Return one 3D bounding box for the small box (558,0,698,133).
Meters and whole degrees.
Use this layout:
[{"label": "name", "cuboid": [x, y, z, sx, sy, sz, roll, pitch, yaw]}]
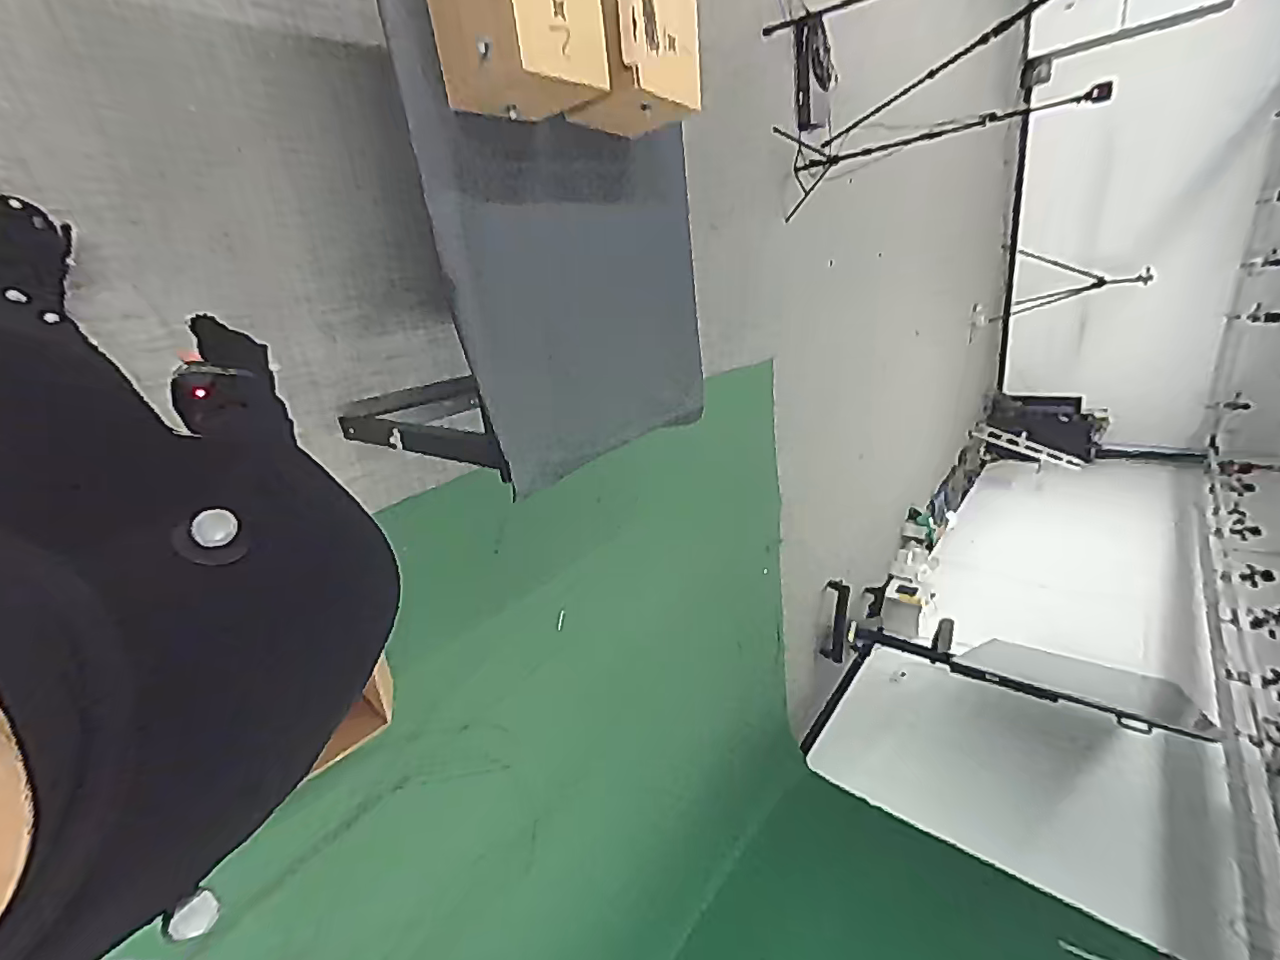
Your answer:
[{"label": "small box", "cuboid": [-0.023, -0.706, 0.905, 0.179, 0.176, 0.168, -23, 116, -46]}]
